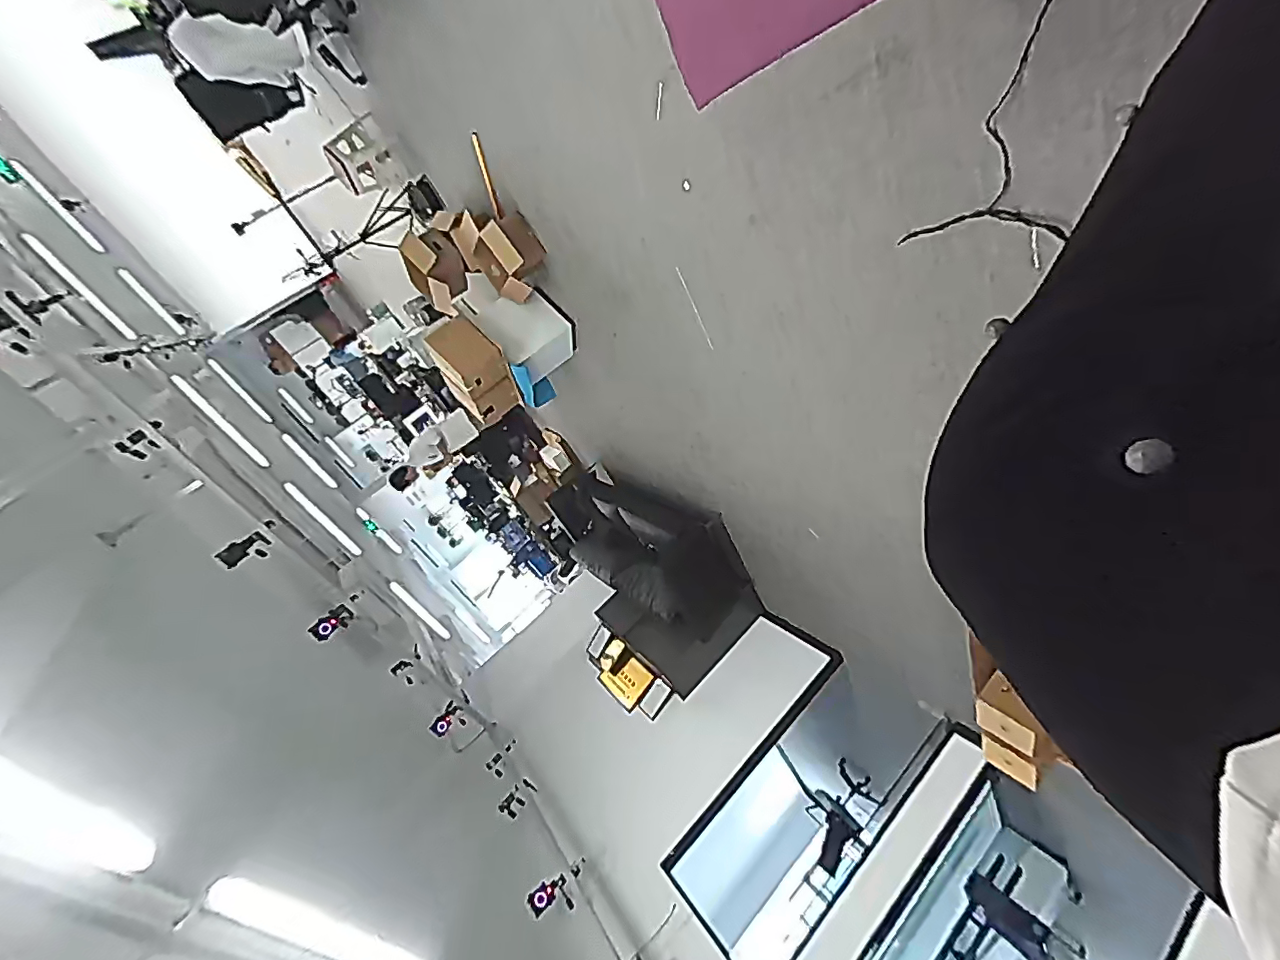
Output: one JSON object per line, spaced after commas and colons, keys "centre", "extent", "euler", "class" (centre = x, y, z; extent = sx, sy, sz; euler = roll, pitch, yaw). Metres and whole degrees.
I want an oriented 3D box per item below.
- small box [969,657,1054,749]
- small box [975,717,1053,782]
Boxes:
{"centre": [1.163, 0.693, 1.695], "extent": [0.168, 0.176, 0.179], "euler": [29, 155, 48], "class": "small box"}
{"centre": [1.267, 0.869, 1.831], "extent": [0.168, 0.176, 0.179], "euler": [27, 150, 50], "class": "small box"}
